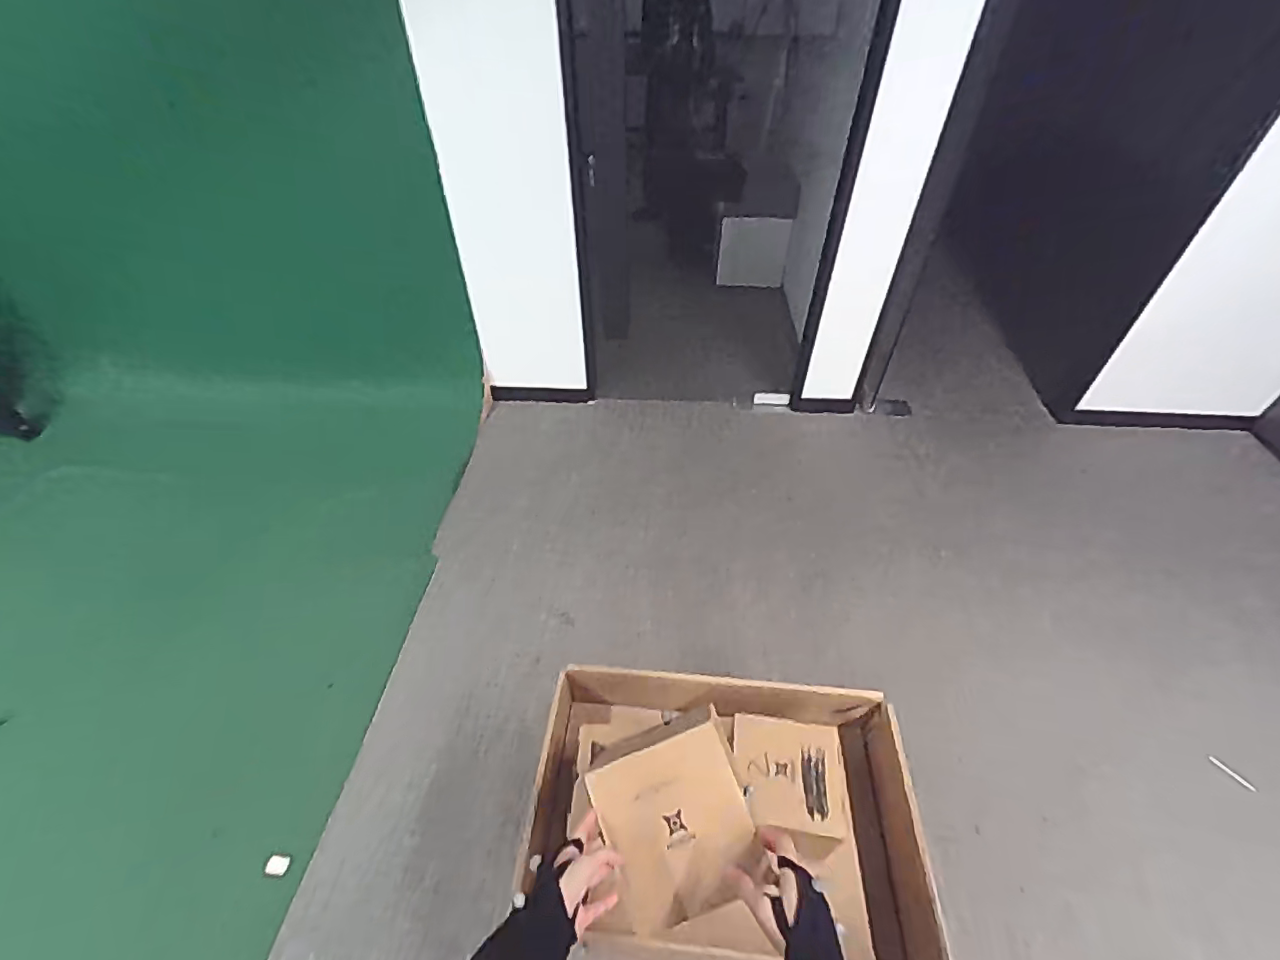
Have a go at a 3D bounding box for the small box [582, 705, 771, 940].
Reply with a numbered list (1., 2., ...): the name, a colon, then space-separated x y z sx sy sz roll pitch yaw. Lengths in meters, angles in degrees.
1. small box: 0.048 0.406 0.675 0.168 0.176 0.179 -23 74 1
